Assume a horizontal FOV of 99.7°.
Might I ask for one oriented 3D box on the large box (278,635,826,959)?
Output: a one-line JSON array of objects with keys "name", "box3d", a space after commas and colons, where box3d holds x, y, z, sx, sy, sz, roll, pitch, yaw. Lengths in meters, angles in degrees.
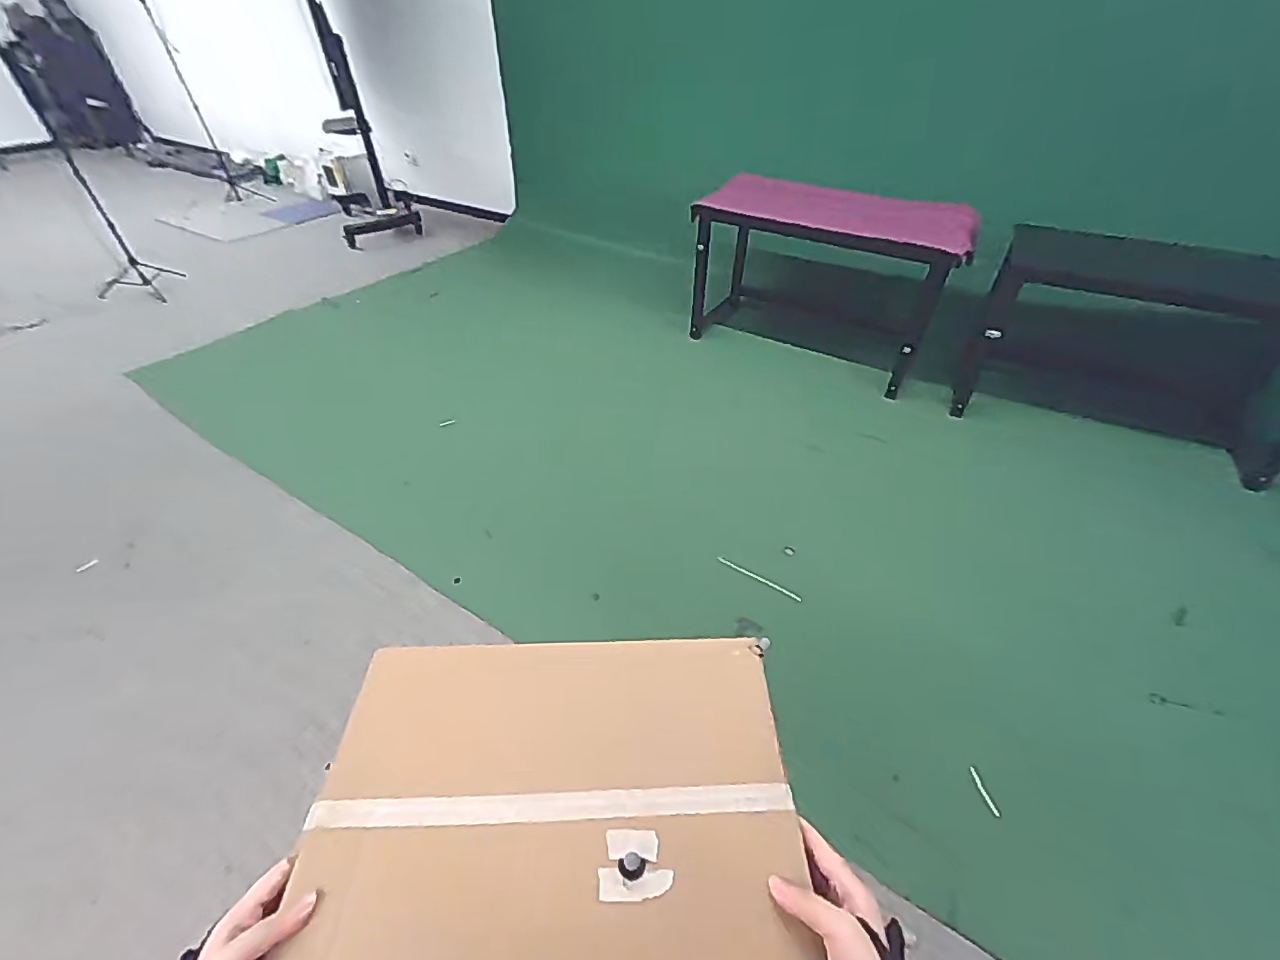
[{"name": "large box", "box3d": [-0.072, 0.388, 0.572, 0.408, 0.320, 0.320, -1, 42, -2]}]
